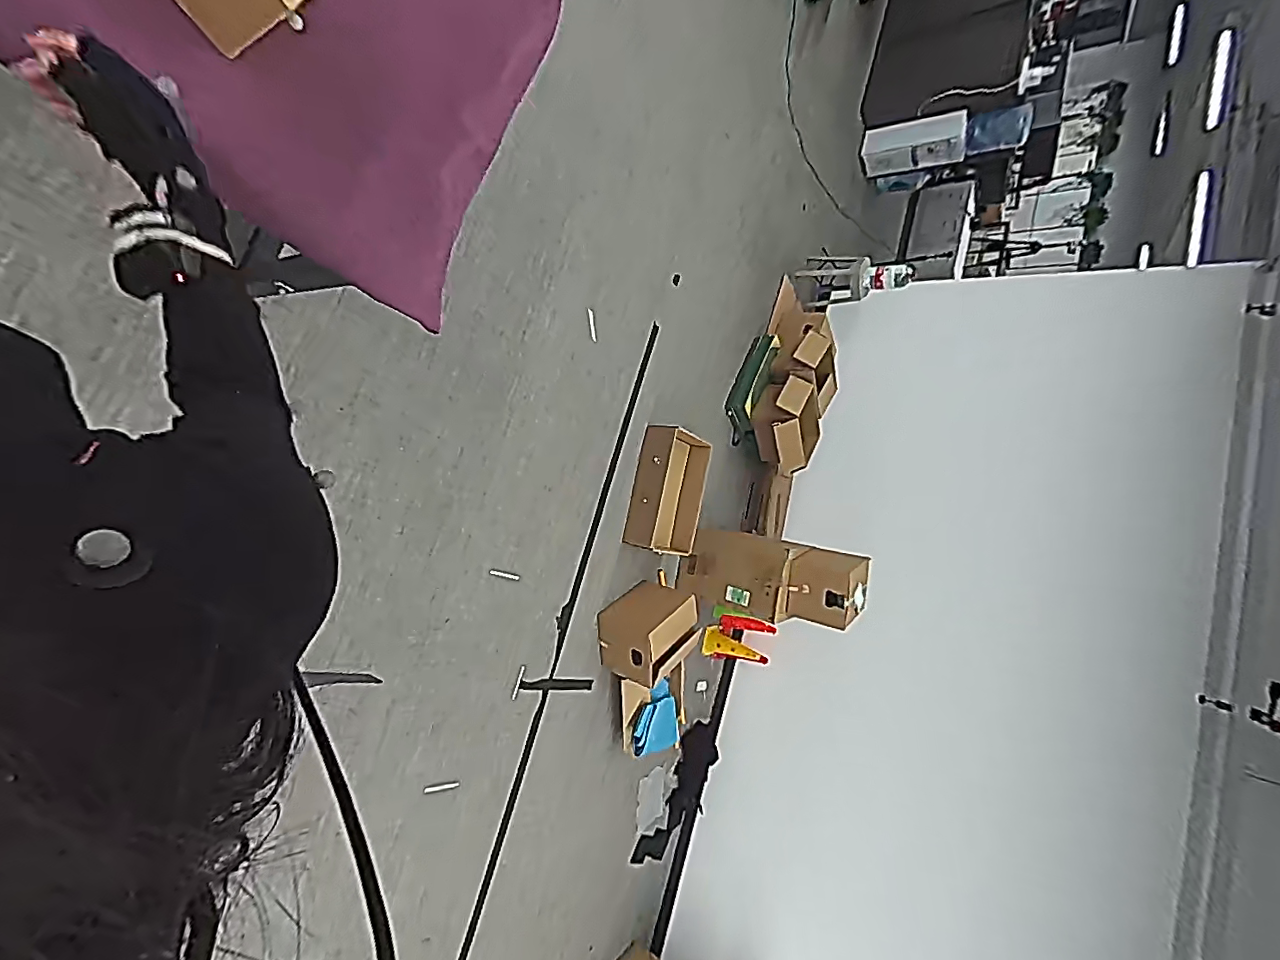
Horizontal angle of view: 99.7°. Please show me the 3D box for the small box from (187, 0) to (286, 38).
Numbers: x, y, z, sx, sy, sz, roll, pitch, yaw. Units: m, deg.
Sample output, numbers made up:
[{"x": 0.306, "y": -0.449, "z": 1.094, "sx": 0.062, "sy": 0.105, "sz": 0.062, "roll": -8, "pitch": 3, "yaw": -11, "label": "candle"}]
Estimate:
[{"x": -0.418, "y": -0.606, "z": 0.546, "sx": 0.179, "sy": 0.176, "sz": 0.168, "roll": 53, "pitch": 55, "yaw": -48, "label": "small box"}]
